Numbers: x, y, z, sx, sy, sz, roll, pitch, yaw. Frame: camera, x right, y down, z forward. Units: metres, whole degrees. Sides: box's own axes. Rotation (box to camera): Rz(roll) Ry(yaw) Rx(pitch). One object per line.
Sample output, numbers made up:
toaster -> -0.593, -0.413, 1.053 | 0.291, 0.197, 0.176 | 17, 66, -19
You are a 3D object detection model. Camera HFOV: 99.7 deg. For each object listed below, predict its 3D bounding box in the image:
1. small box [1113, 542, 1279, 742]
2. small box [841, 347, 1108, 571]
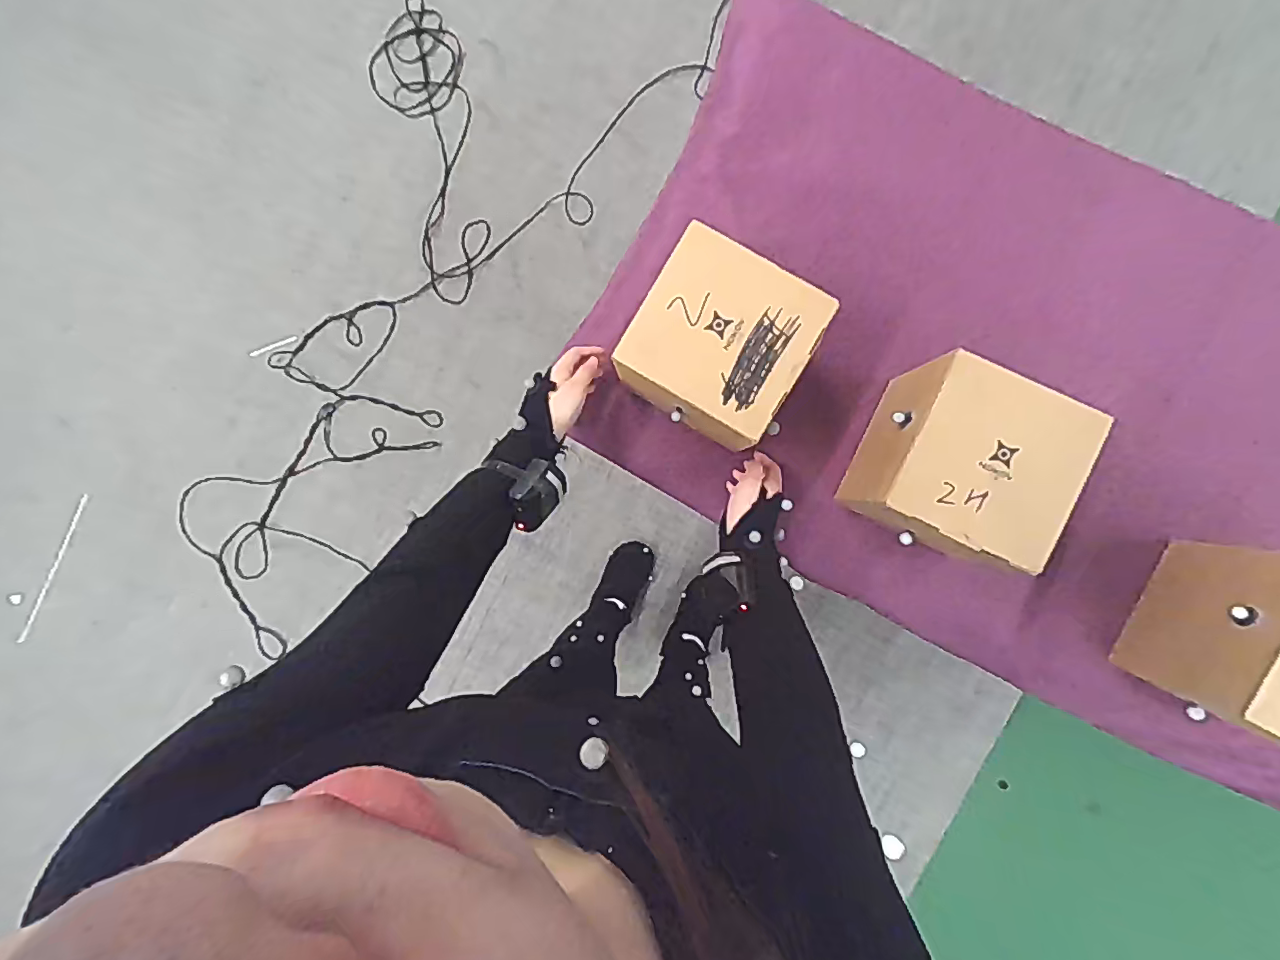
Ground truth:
small box -> 0.693, 0.184, 0.600 | 0.168, 0.176, 0.179 | 27, 92, 3
small box -> 0.355, -0.020, 0.614 | 0.168, 0.176, 0.179 | 25, 90, 3
